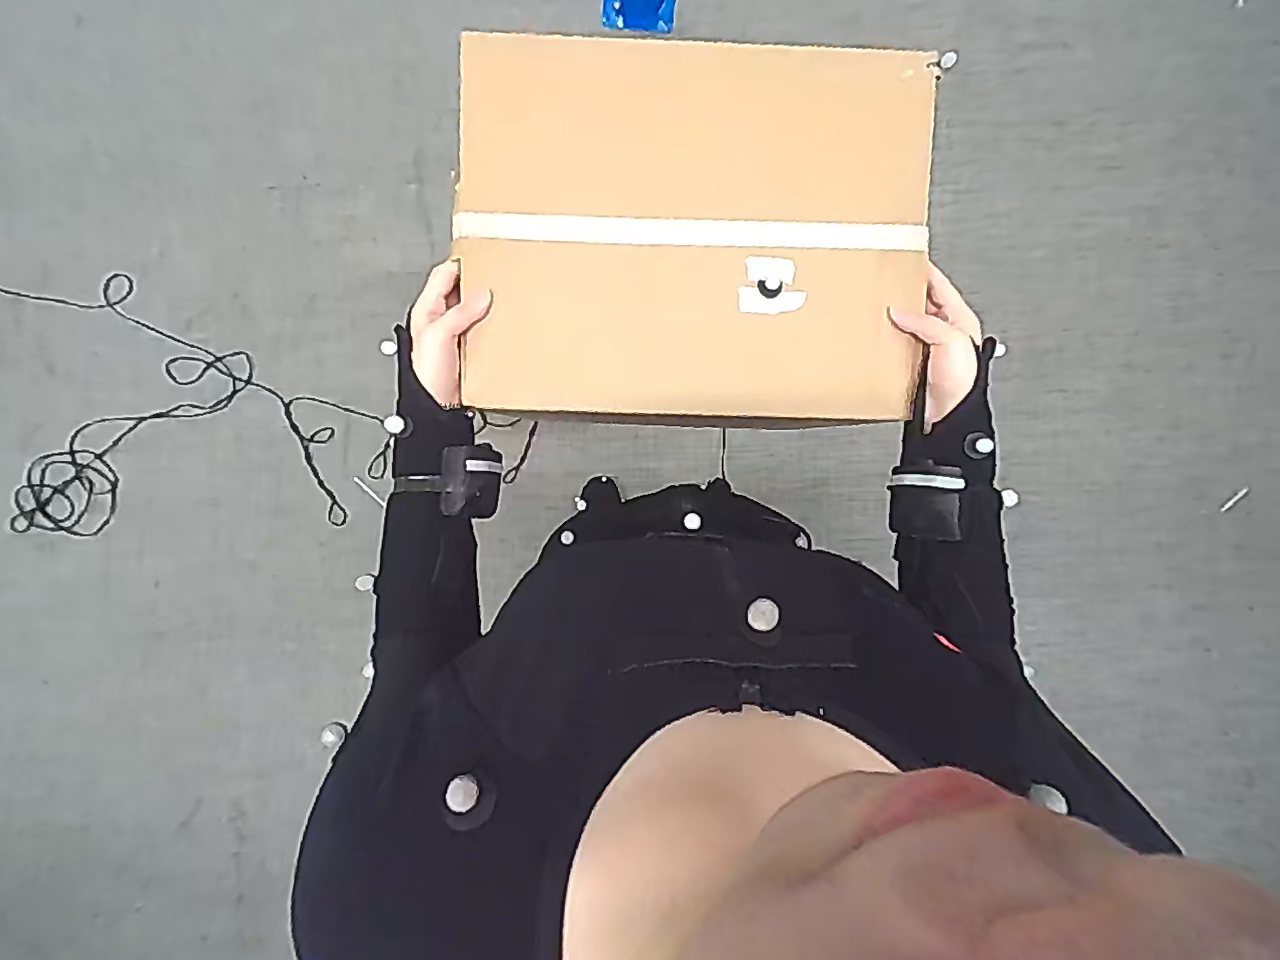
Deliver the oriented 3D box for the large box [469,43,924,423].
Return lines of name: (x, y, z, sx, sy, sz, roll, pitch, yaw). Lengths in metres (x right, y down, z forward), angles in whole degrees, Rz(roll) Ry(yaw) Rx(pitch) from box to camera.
large box: (0.043, -0.228, 0.624, 0.408, 0.320, 0.320, 1, 94, -2)

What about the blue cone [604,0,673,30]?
blue cone: (-0.004, -1.364, 1.353, 0.193, 0.380, 0.192, 7, 89, 1)
